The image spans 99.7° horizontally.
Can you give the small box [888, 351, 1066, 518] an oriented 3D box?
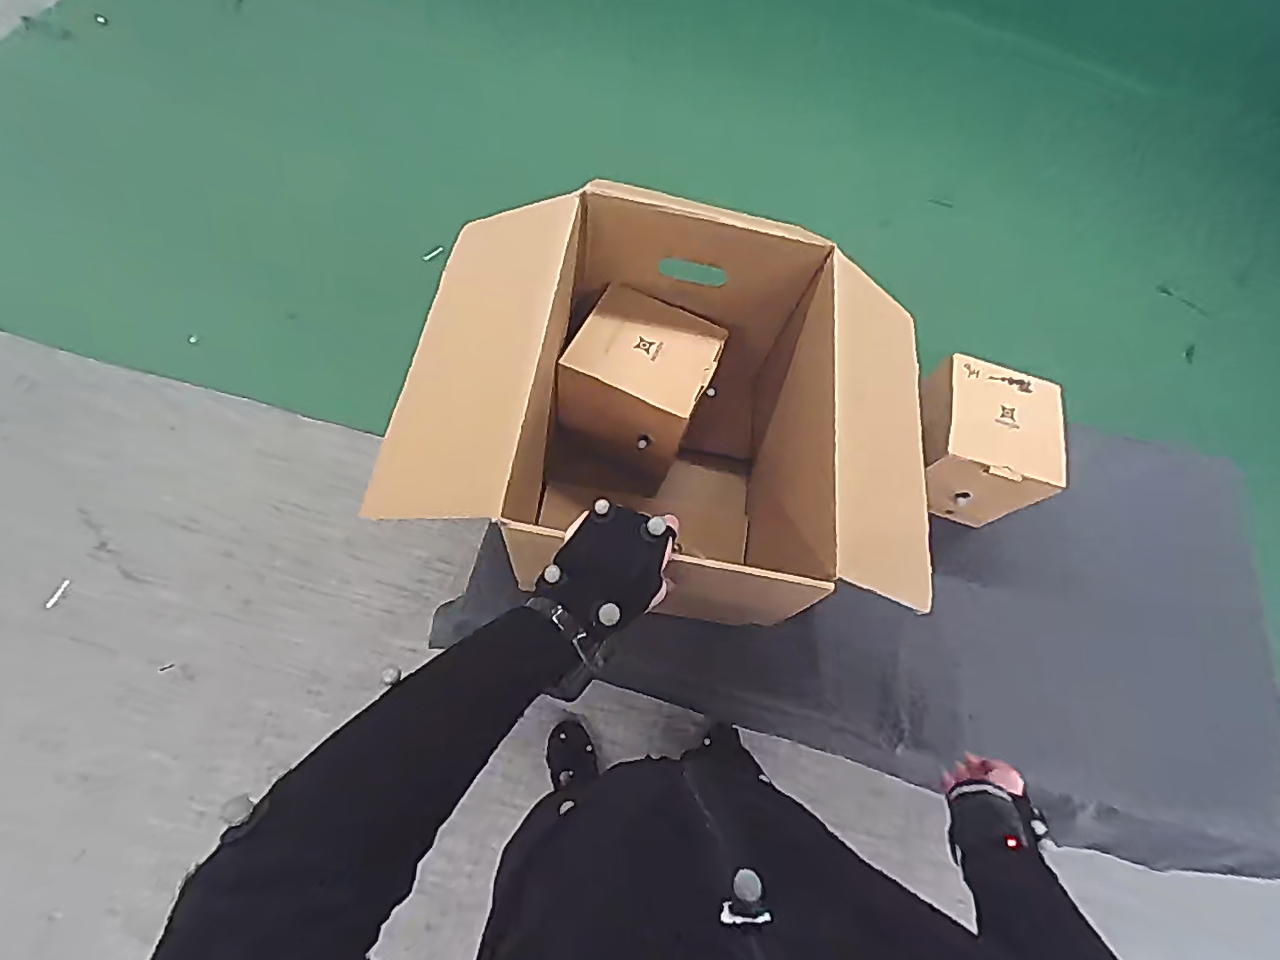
[{"bbox_3d":[0.507,-0.059,0.831,0.168,0.176,0.179,19,68,-1],"label":"small box"}]
